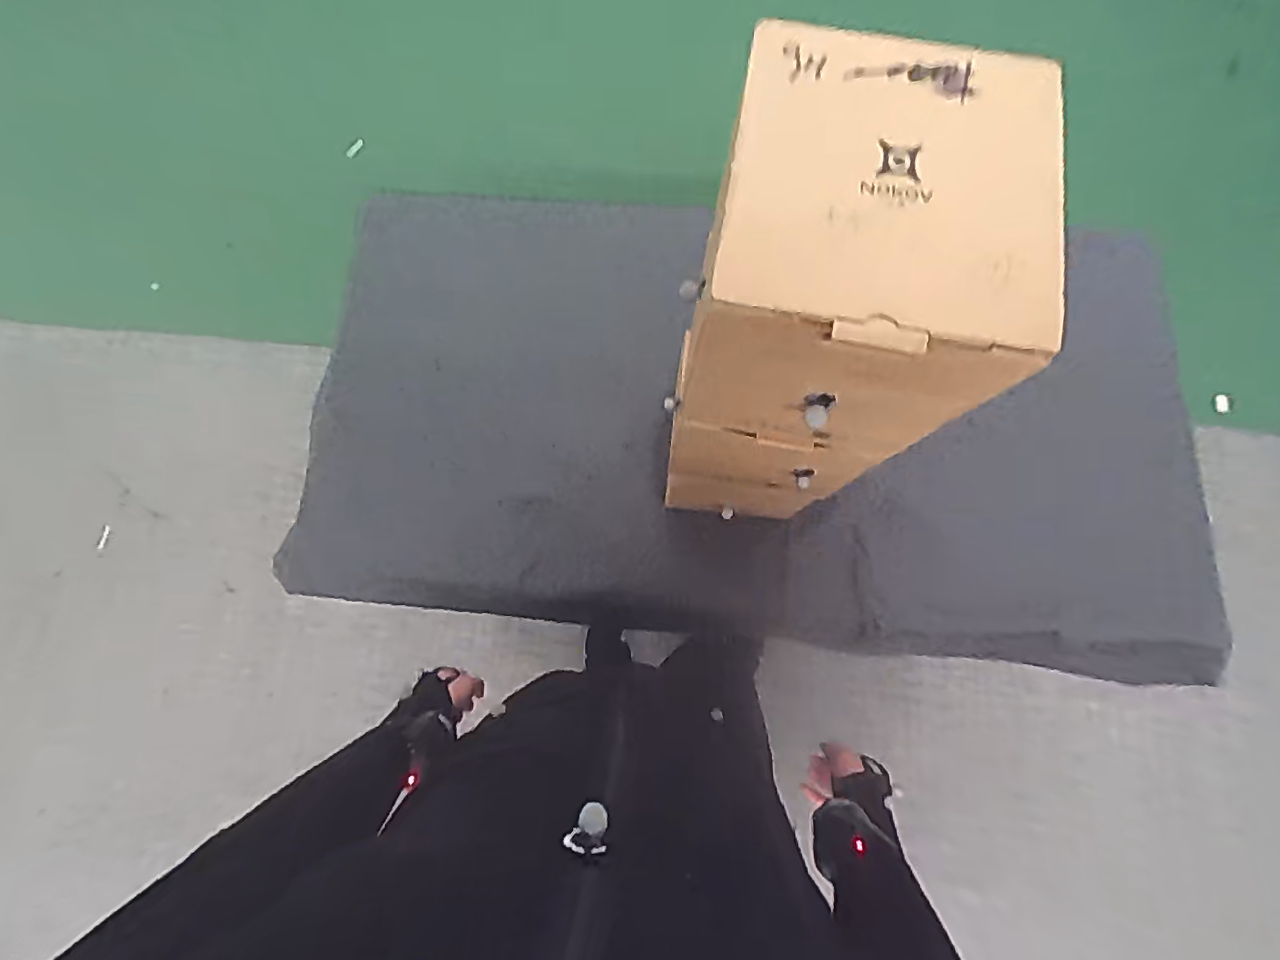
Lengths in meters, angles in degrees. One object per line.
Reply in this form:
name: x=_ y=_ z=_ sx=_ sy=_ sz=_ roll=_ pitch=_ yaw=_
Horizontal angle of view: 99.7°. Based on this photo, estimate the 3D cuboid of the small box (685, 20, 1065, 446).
small box: x=0.124 y=-0.132 z=0.346 sx=0.168 sy=0.176 sz=0.179 roll=10 pitch=78 yaw=2

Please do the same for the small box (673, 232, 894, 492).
small box: x=0.123 y=-0.094 z=0.505 sx=0.168 sy=0.176 sz=0.179 roll=8 pitch=76 yaw=2

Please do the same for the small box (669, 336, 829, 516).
small box: x=0.126 y=-0.060 z=0.663 sx=0.168 sy=0.176 sz=0.179 roll=5 pitch=78 yaw=2
